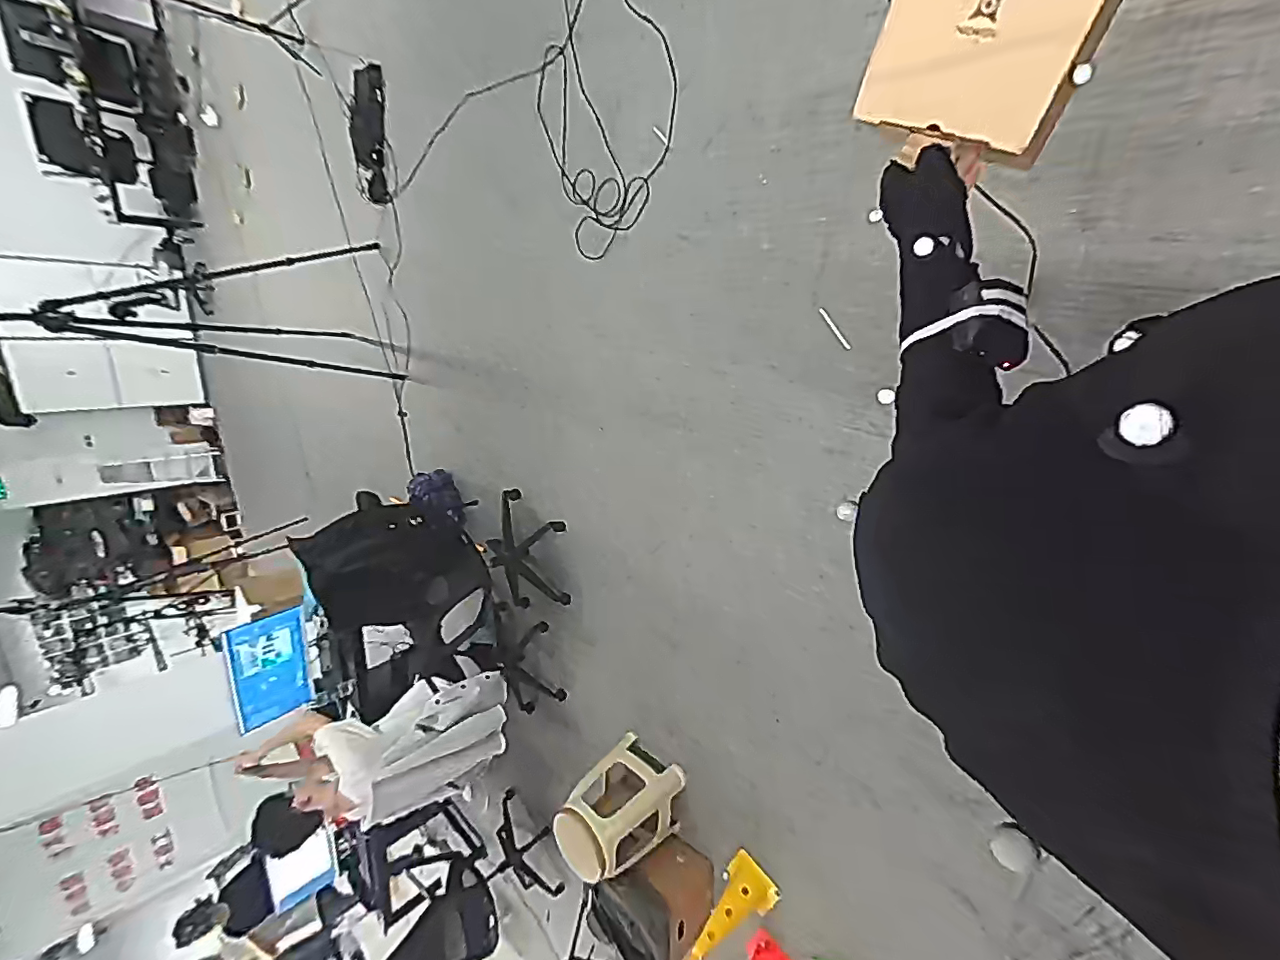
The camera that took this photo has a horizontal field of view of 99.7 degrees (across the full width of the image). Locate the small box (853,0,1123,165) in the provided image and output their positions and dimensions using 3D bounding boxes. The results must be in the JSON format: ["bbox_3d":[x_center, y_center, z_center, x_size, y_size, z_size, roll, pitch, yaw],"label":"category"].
[{"bbox_3d":[0.344,-0.425,0.531,0.168,0.176,0.179,31,127,25],"label":"small box"}]
